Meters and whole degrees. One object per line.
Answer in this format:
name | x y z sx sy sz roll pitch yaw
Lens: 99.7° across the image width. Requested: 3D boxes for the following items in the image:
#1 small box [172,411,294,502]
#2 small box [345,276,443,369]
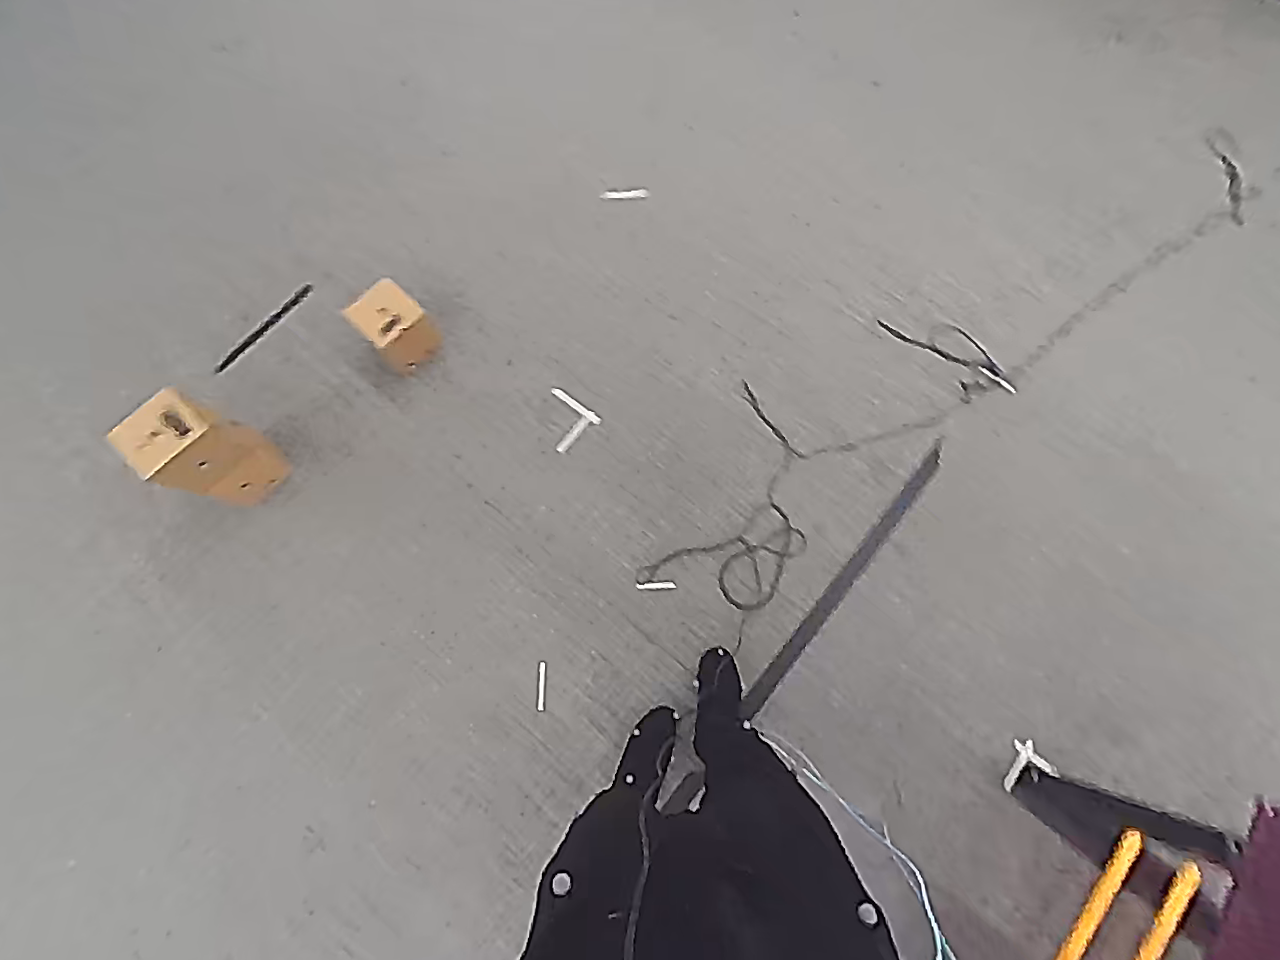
small box | -1.117 -0.055 1.501 0.179 0.176 0.168 40 79 11
small box | -0.721 -0.456 1.608 0.179 0.176 0.168 42 78 11
